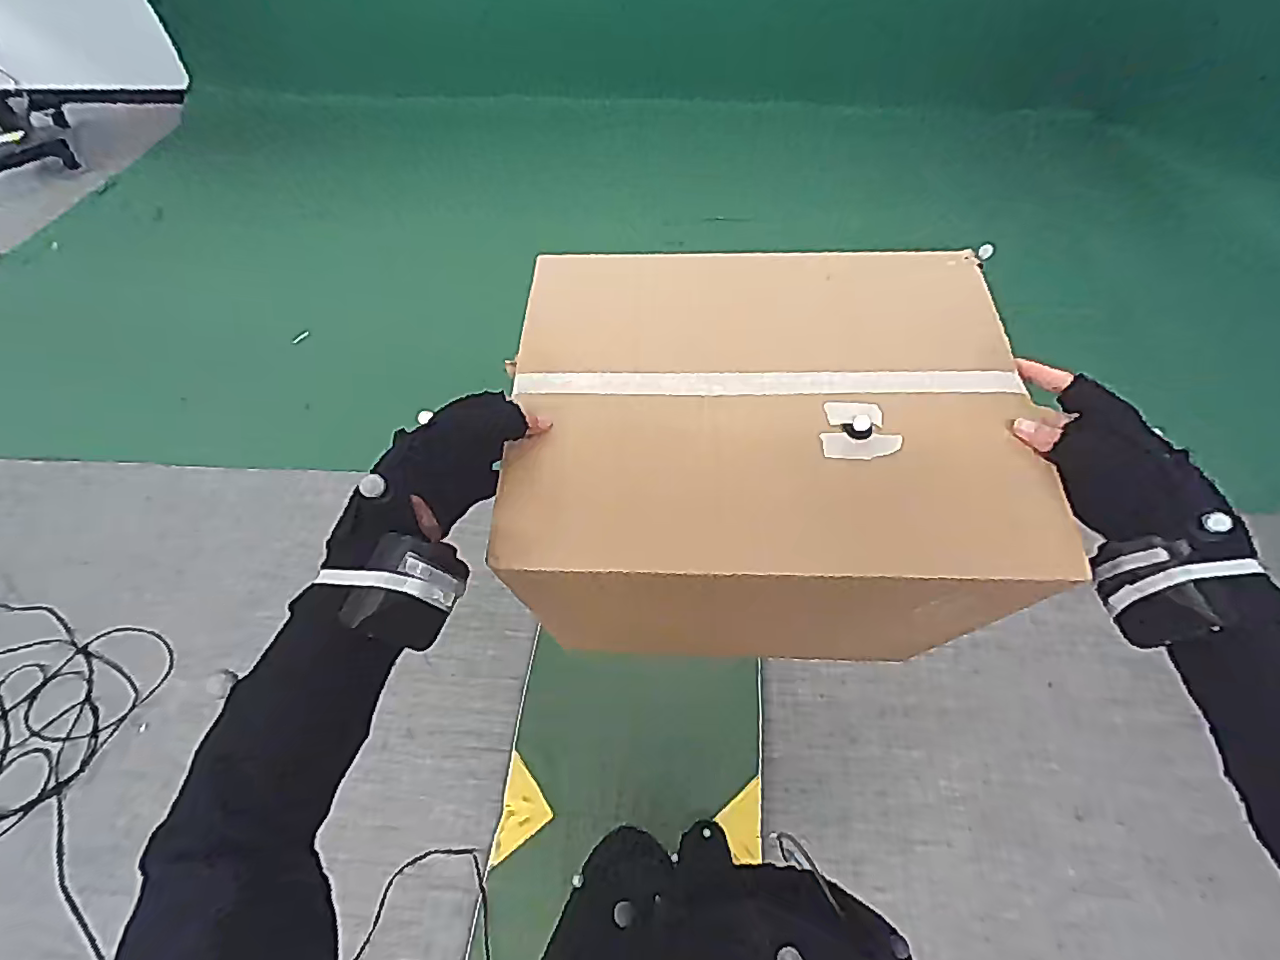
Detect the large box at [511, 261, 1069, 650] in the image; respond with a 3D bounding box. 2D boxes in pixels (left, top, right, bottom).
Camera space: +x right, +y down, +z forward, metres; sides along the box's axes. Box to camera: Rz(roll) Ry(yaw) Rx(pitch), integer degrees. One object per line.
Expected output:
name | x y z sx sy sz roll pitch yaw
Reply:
large box | 0.108 -0.004 0.582 0.408 0.320 0.320 0 63 2
